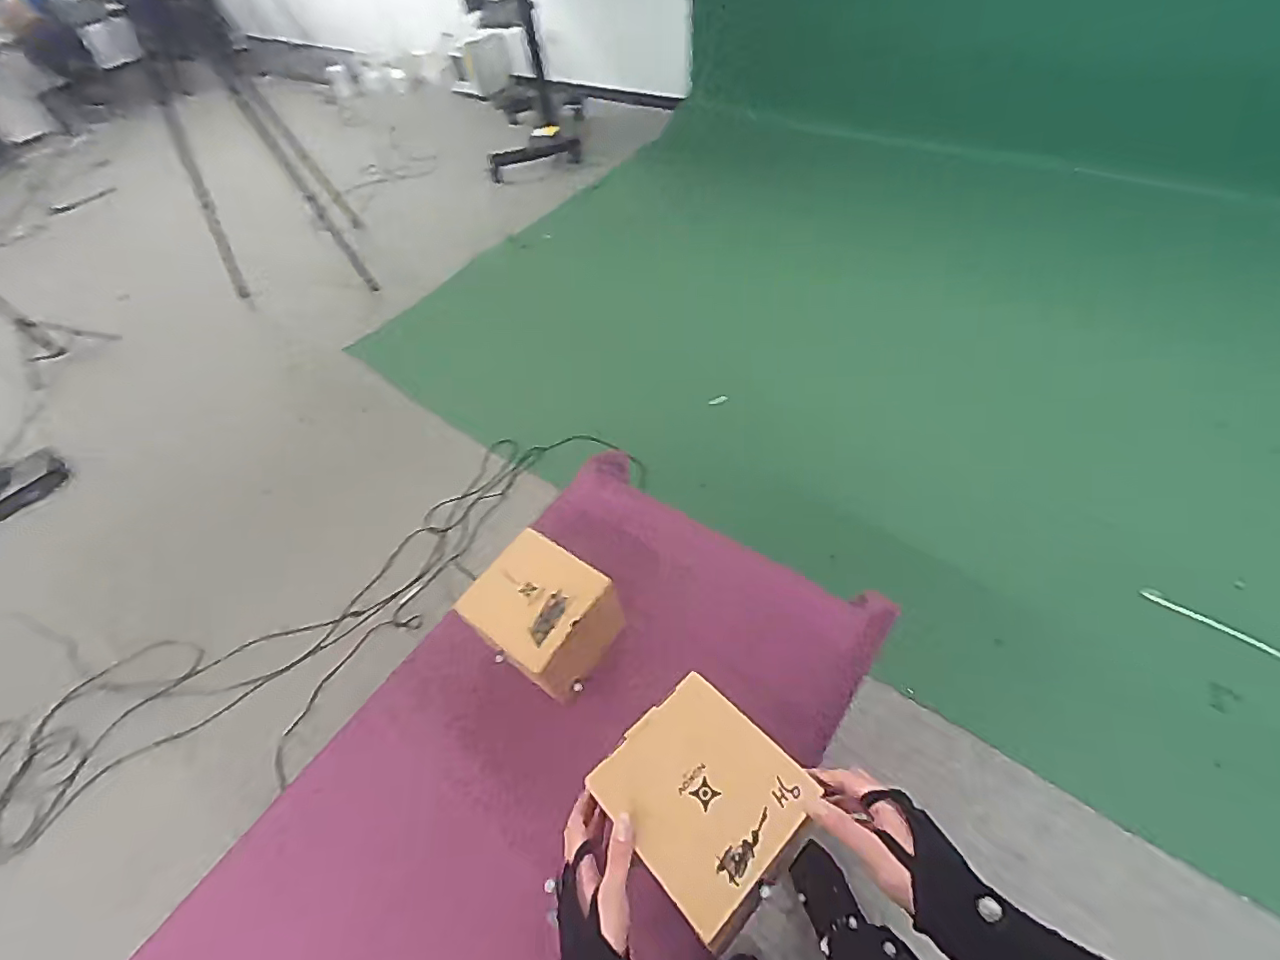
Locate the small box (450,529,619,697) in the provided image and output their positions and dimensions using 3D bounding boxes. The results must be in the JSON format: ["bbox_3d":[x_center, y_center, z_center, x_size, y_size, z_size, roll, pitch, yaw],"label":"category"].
[{"bbox_3d":[-0.152,0.214,0.844,0.179,0.176,0.168,27,62,27],"label":"small box"}]
